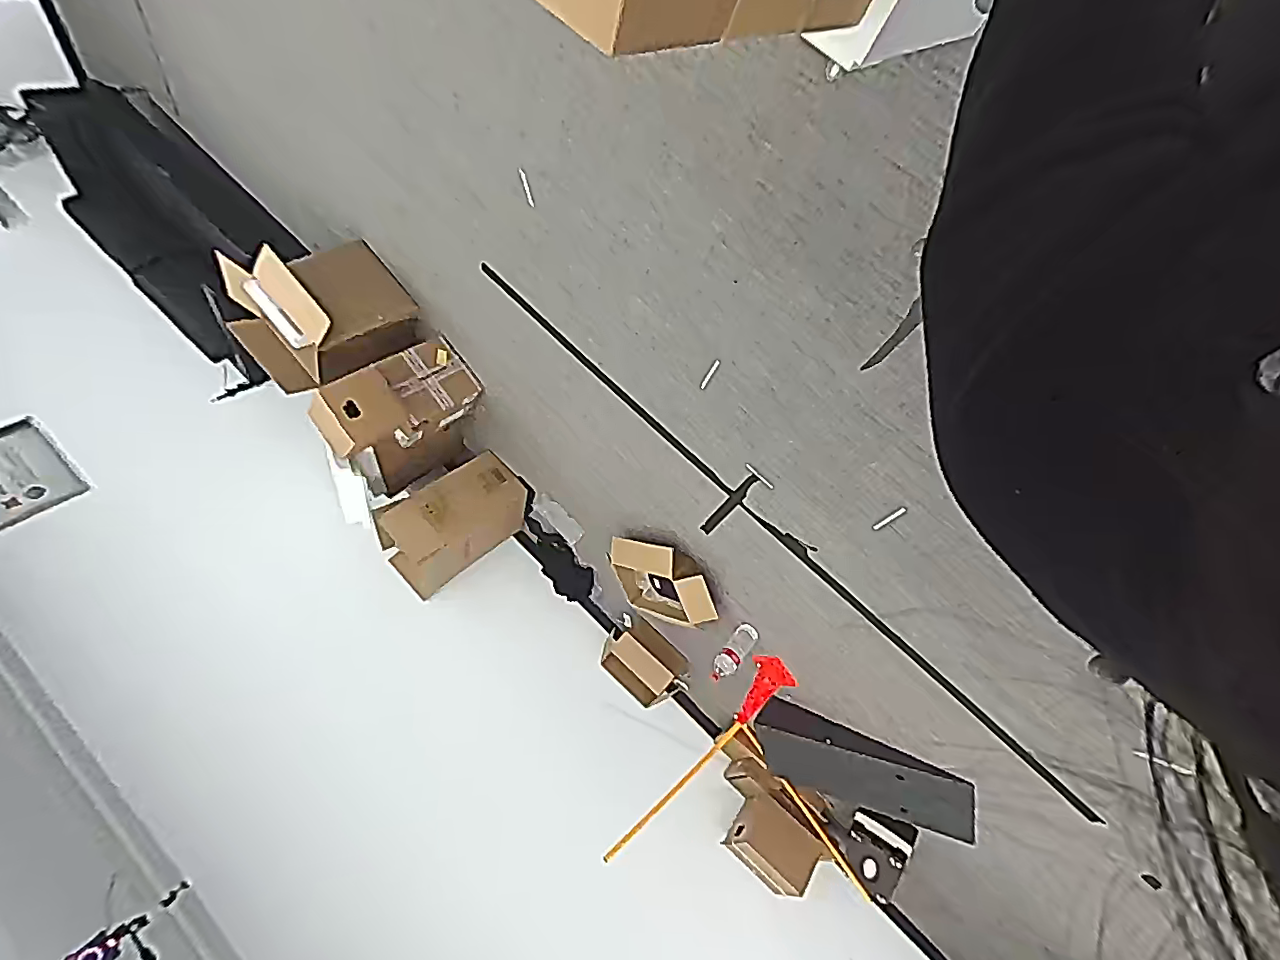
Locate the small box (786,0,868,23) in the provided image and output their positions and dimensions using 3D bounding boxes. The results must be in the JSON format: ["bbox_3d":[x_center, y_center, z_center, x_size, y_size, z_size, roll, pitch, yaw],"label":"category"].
[{"bbox_3d":[0.194,-0.652,0.602,0.179,0.176,0.168,45,146,9],"label":"small box"}]

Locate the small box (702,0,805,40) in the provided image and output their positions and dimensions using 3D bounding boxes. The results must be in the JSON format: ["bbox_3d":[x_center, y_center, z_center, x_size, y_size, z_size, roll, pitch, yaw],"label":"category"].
[{"bbox_3d":[0.092,-0.563,0.510,0.179,0.176,0.168,44,146,10],"label":"small box"}]

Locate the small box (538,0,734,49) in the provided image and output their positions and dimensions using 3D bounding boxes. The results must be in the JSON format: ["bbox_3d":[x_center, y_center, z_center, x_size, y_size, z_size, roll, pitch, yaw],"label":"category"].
[{"bbox_3d":[-0.012,-0.478,0.419,0.179,0.176,0.168,43,146,9],"label":"small box"}]
